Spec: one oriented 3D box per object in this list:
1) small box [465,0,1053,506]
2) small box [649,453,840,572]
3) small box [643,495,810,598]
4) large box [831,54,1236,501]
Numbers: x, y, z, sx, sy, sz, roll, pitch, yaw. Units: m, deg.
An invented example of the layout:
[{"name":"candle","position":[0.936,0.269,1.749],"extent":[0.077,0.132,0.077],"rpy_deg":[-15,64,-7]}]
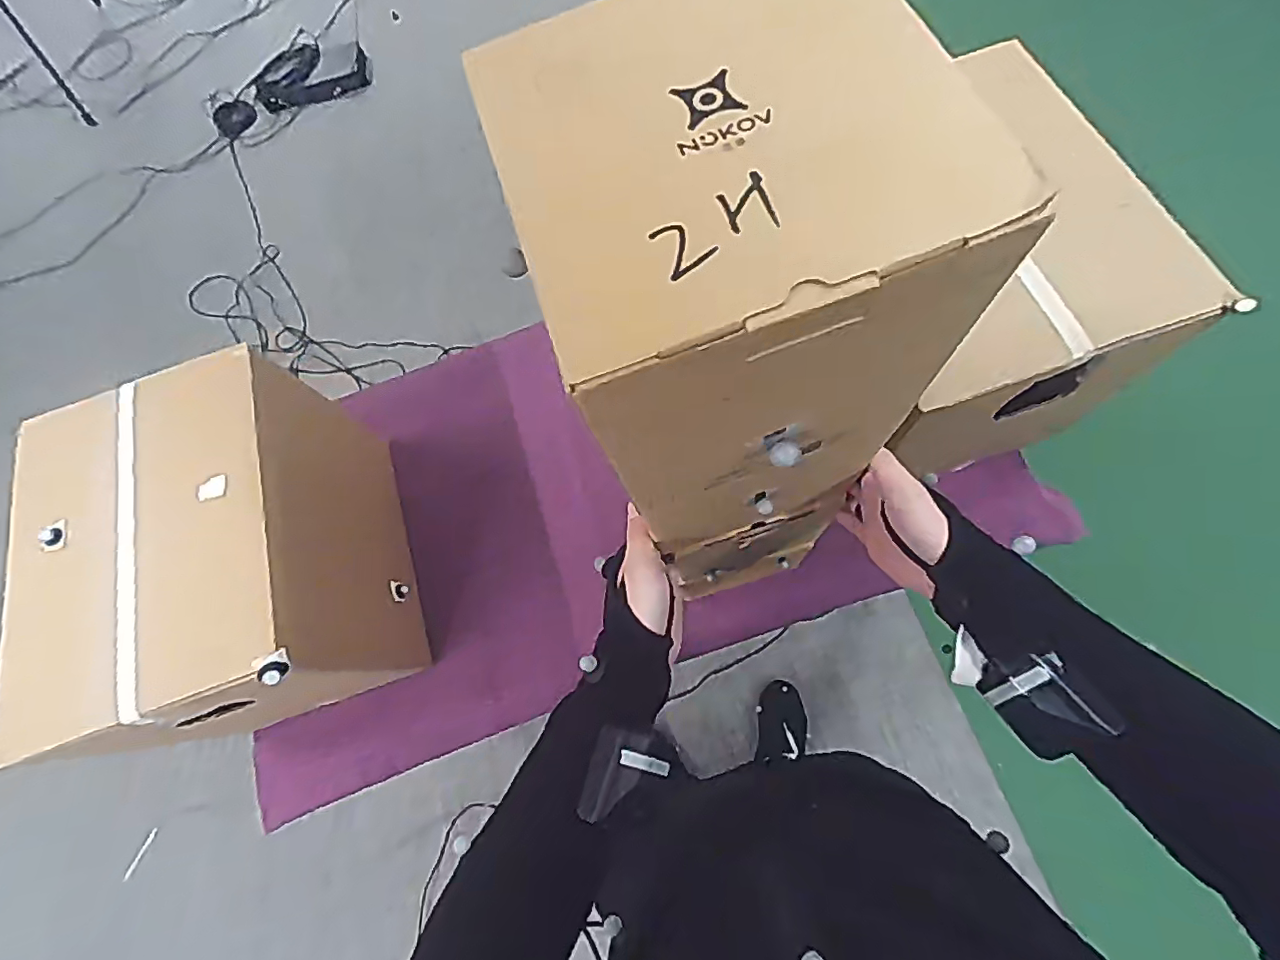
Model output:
[{"name":"small box","position":[0.037,-0.108,0.272],"extent":[0.168,0.176,0.179],"rpy_deg":[-20,71,3]},{"name":"small box","position":[0.090,-0.008,0.581],"extent":[0.168,0.176,0.179],"rpy_deg":[-18,69,2]},{"name":"small box","position":[0.108,0.053,0.734],"extent":[0.179,0.176,0.168],"rpy_deg":[-17,70,2]},{"name":"large box","position":[0.378,-0.236,0.718],"extent":[0.320,0.320,0.408],"rpy_deg":[-19,70,3]}]
